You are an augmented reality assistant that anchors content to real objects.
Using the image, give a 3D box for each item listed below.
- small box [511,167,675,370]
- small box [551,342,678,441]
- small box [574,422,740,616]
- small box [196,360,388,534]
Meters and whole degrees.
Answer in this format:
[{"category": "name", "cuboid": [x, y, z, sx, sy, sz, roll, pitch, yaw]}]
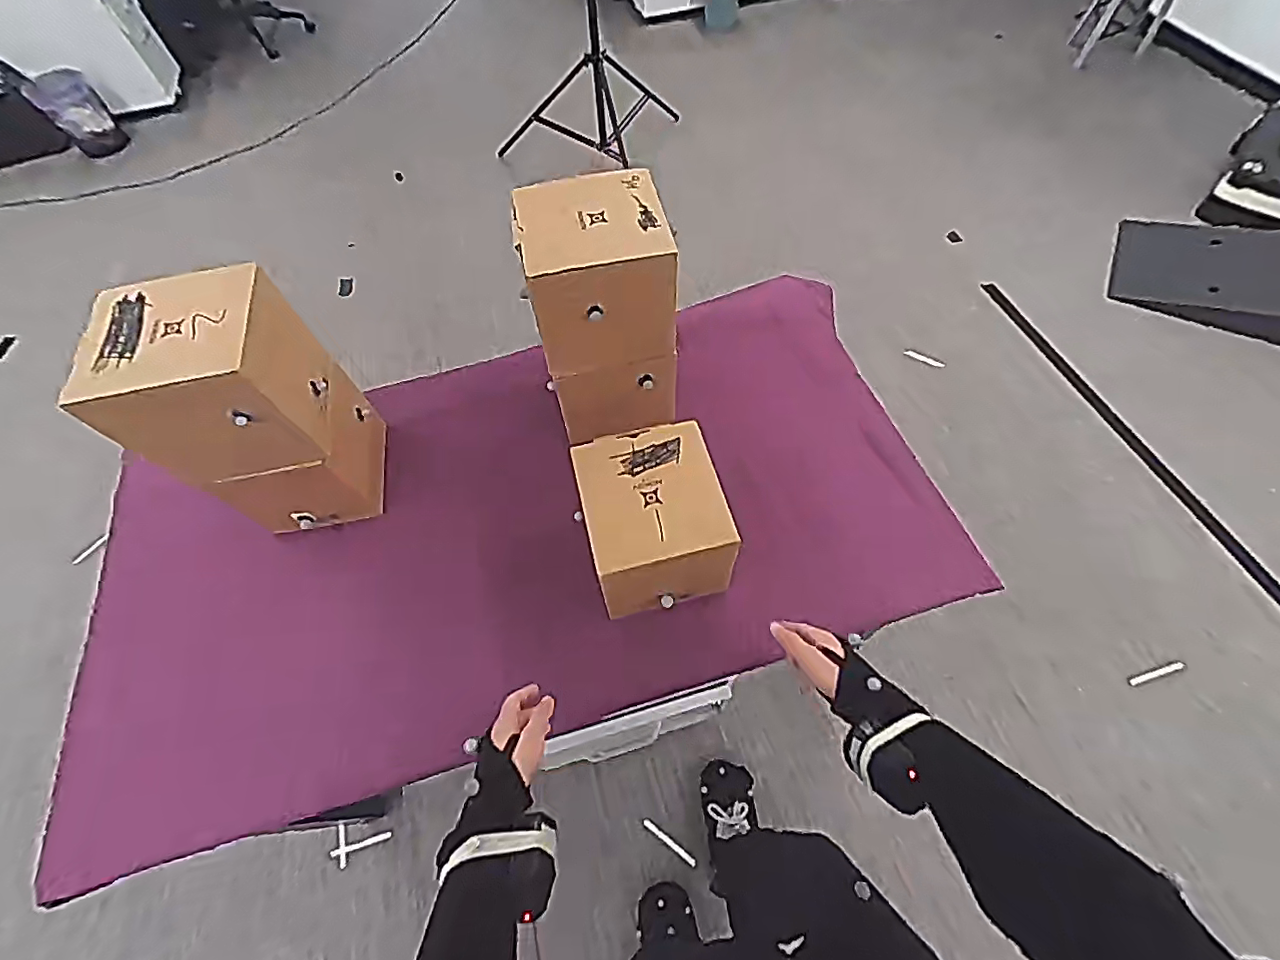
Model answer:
[{"category": "small box", "cuboid": [-0.055, -0.265, 0.702, 0.179, 0.176, 0.168, -12, 62, -3]}, {"category": "small box", "cuboid": [-0.046, -0.184, 0.844, 0.179, 0.176, 0.168, -13, 61, -4]}, {"category": "small box", "cuboid": [0.017, 0.056, 0.704, 0.168, 0.176, 0.179, -13, 60, -4]}, {"category": "small box", "cuboid": [-0.485, -0.042, 0.786, 0.168, 0.176, 0.179, -11, 63, -2]}]
